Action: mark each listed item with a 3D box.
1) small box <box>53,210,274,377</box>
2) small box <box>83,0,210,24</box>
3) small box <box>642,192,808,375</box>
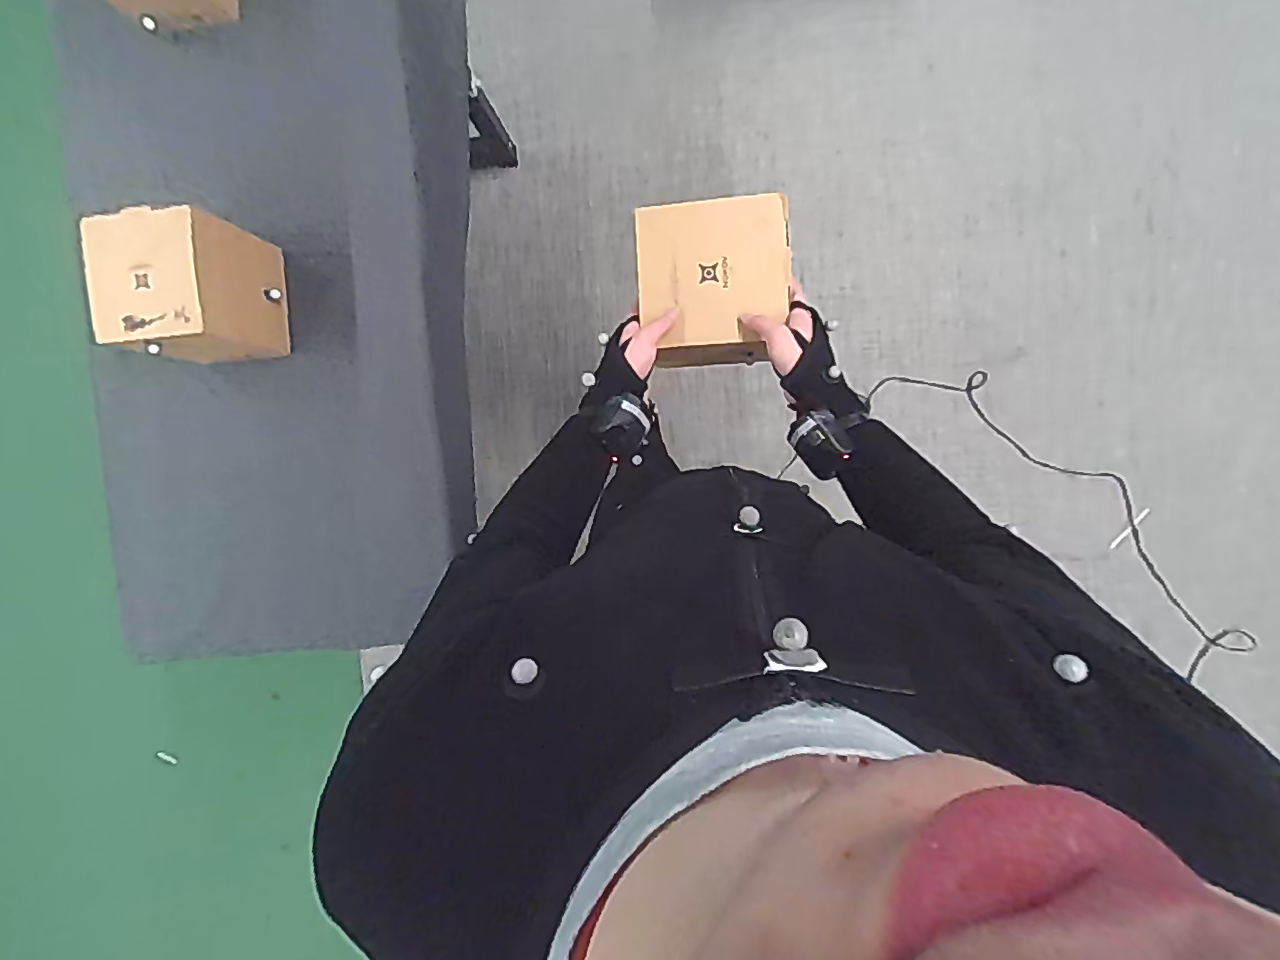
[{"bbox_3d":[-0.664,-0.254,0.773,0.168,0.176,0.179,-5,91,4],"label":"small box"},{"bbox_3d":[-0.747,-0.787,0.759,0.168,0.176,0.179,-3,91,3],"label":"small box"},{"bbox_3d":[0.102,-0.232,0.681,0.179,0.176,0.168,-4,91,7],"label":"small box"}]
